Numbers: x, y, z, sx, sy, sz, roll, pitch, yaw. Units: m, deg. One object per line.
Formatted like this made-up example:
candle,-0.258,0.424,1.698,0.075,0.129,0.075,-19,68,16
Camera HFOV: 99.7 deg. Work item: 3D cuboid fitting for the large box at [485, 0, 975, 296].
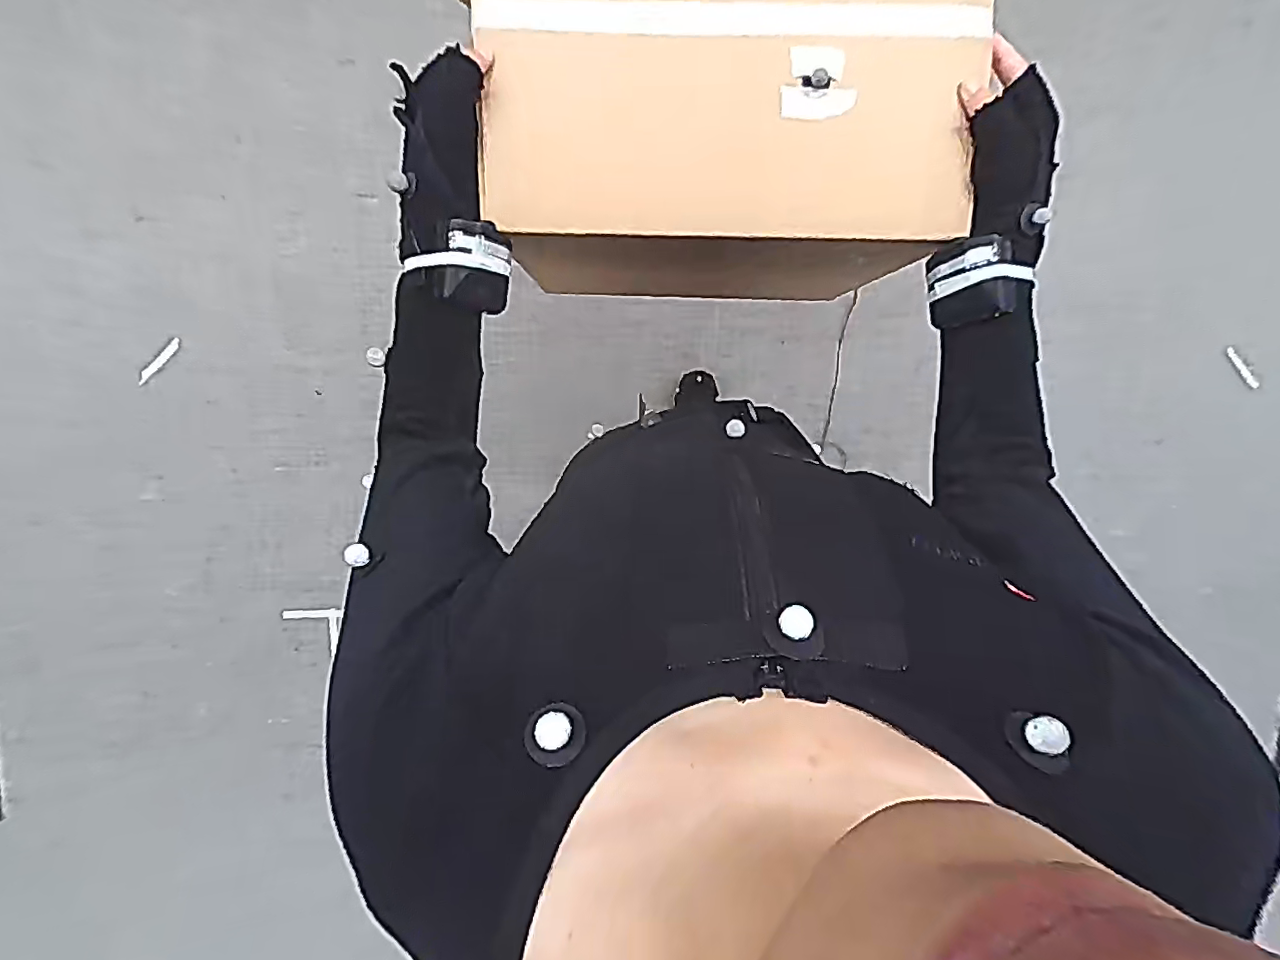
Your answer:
large box,0.069,-0.387,0.587,0.408,0.320,0.320,0,100,-1
